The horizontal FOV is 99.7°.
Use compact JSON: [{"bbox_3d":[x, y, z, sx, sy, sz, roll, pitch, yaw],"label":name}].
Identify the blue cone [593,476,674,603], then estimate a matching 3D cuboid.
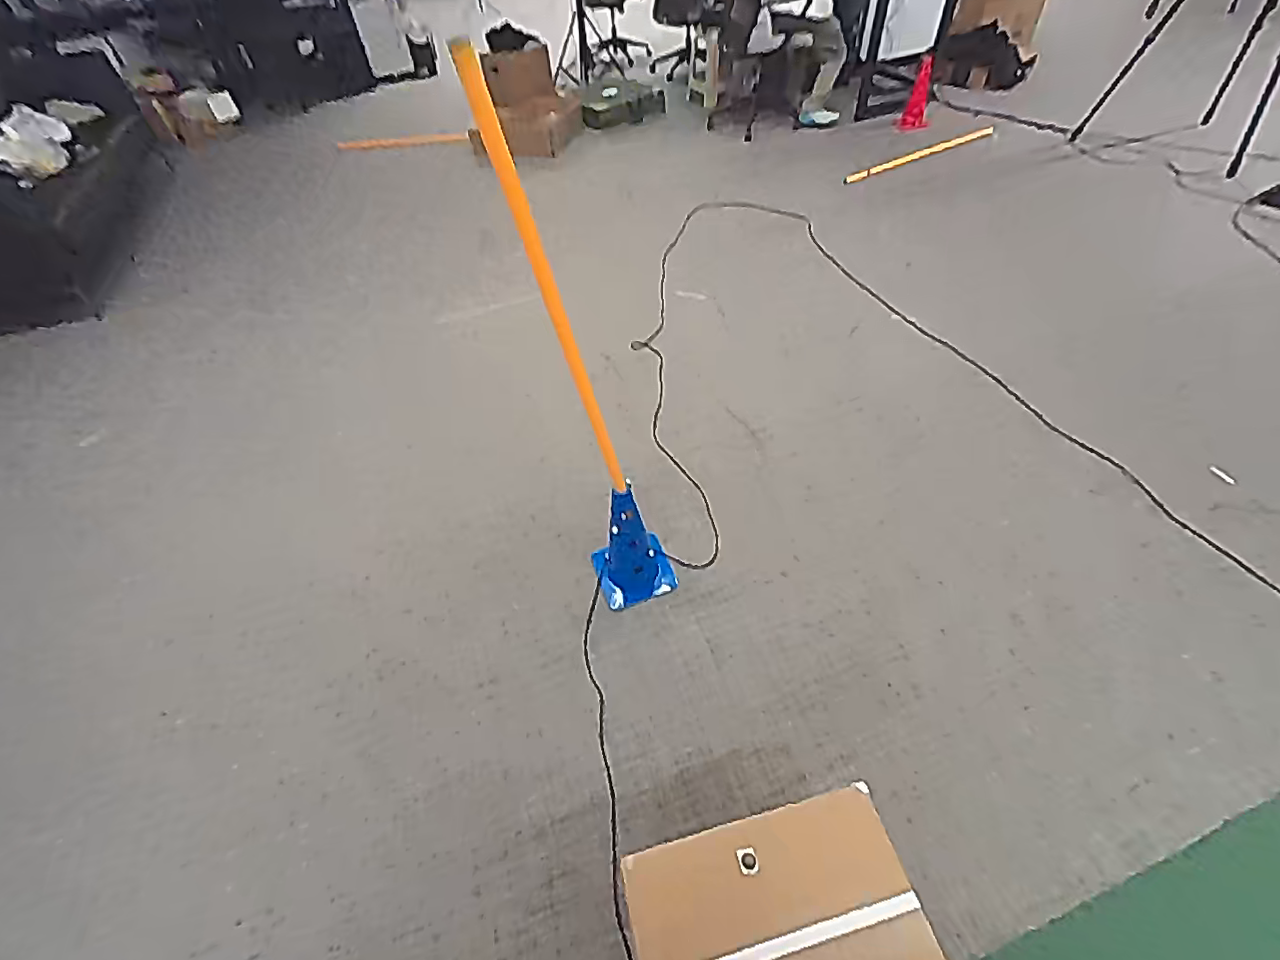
[{"bbox_3d":[-0.032,0.131,1.357,0.193,0.380,0.192,-21,50,-11],"label":"blue cone"}]
